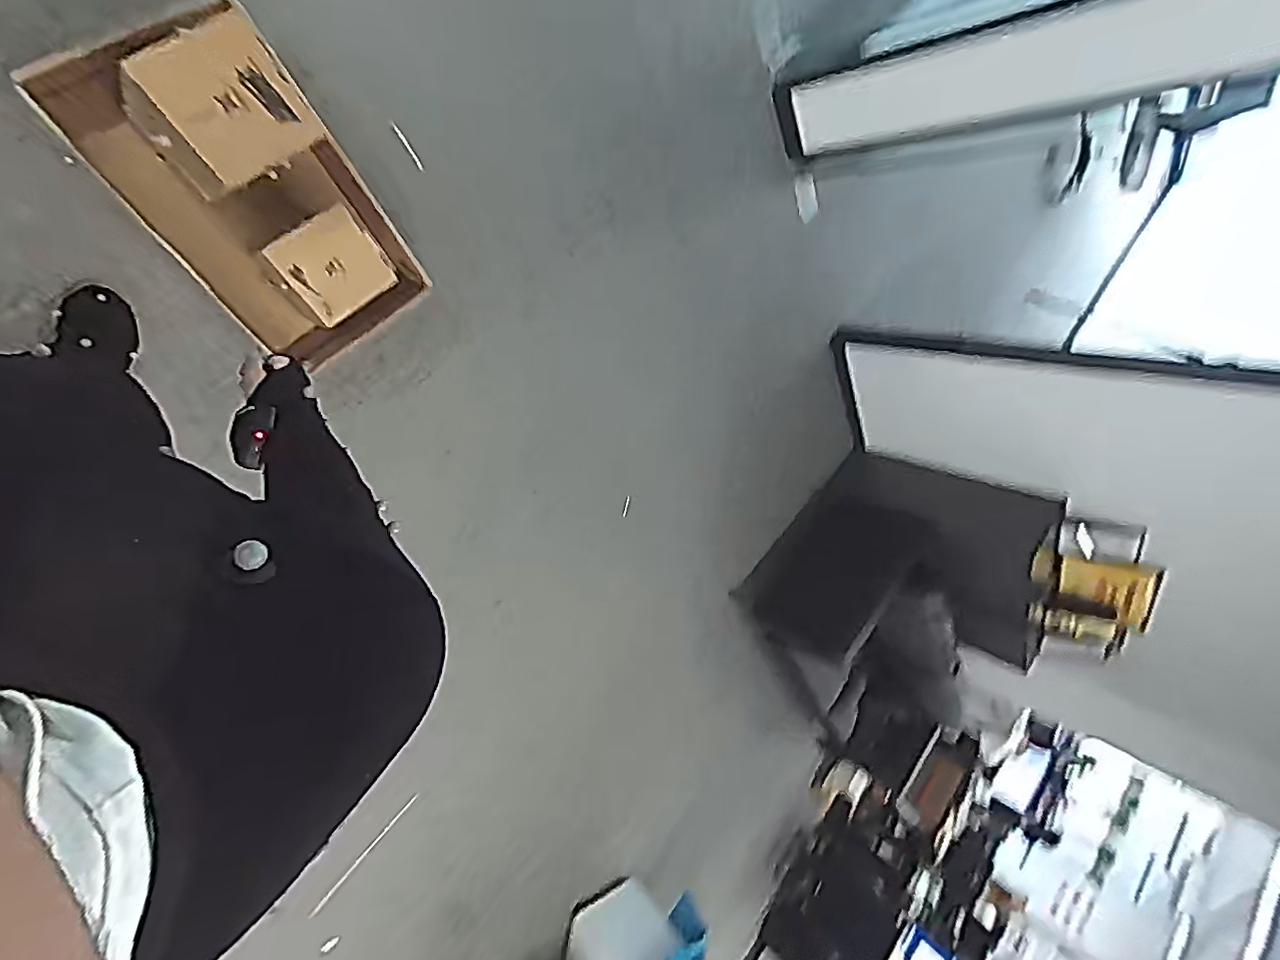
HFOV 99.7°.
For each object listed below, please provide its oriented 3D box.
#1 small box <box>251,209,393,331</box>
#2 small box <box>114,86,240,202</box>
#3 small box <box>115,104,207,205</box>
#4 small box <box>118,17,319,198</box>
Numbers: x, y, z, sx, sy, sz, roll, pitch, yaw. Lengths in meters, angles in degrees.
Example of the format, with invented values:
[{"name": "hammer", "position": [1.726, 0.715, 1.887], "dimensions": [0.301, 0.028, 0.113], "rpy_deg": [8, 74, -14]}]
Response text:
[{"name": "small box", "position": [-0.653, -0.427, 1.106], "dimensions": [0.179, 0.176, 0.168], "rpy_deg": [-46, 129, -20]}, {"name": "small box", "position": [-0.753, -0.609, 0.944], "dimensions": [0.179, 0.176, 0.168], "rpy_deg": [-47, 132, -19]}, {"name": "small box", "position": [-0.859, -0.658, 1.055], "dimensions": [0.179, 0.176, 0.168], "rpy_deg": [-46, 132, -20]}, {"name": "small box", "position": [-0.644, -0.560, 0.831], "dimensions": [0.179, 0.176, 0.168], "rpy_deg": [-46, 132, -19]}]
